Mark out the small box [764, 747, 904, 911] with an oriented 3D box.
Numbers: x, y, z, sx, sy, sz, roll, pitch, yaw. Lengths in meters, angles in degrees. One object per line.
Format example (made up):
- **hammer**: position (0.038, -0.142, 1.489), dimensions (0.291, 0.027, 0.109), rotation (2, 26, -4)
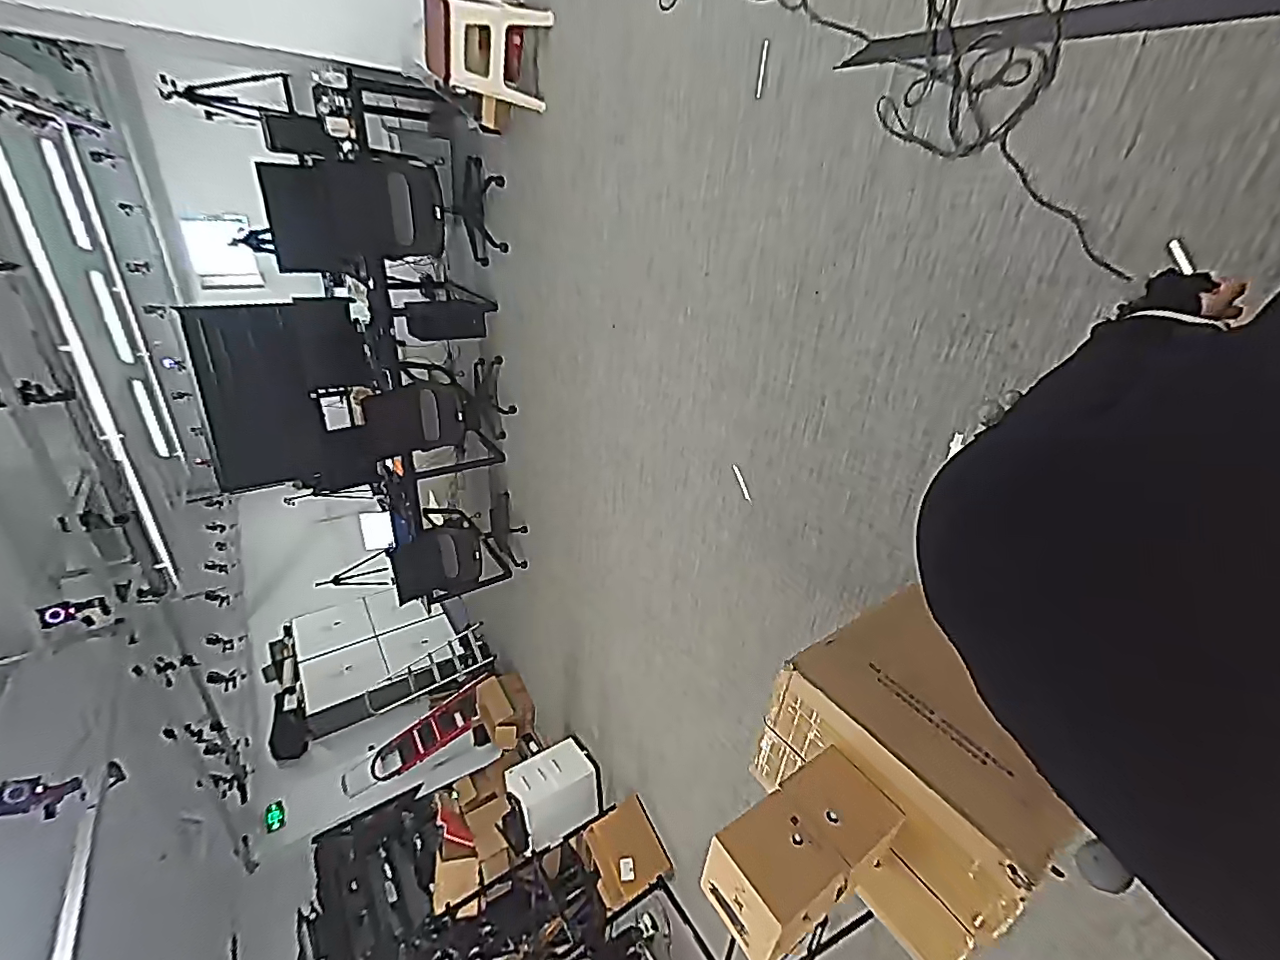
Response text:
- **small box**: position (0.375, 0.667, 1.052), dimensions (0.179, 0.176, 0.168), rotation (39, 133, 45)
